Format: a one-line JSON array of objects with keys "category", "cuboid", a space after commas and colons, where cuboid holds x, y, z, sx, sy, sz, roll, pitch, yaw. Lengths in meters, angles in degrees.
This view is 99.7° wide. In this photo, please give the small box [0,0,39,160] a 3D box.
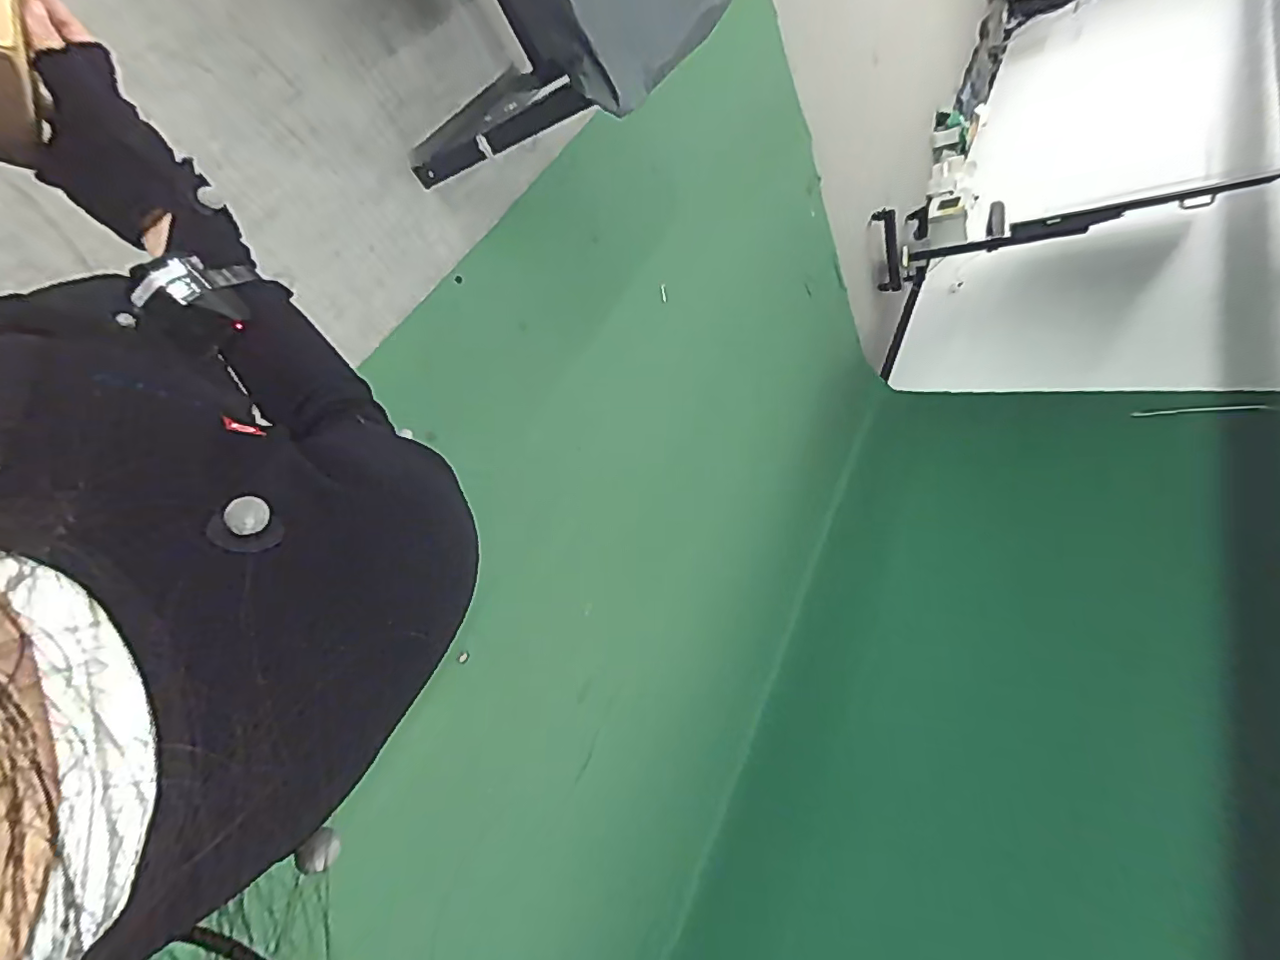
[{"category": "small box", "cuboid": [-0.463, -0.320, 0.298, 0.168, 0.176, 0.179, -4, 96, -45]}]
